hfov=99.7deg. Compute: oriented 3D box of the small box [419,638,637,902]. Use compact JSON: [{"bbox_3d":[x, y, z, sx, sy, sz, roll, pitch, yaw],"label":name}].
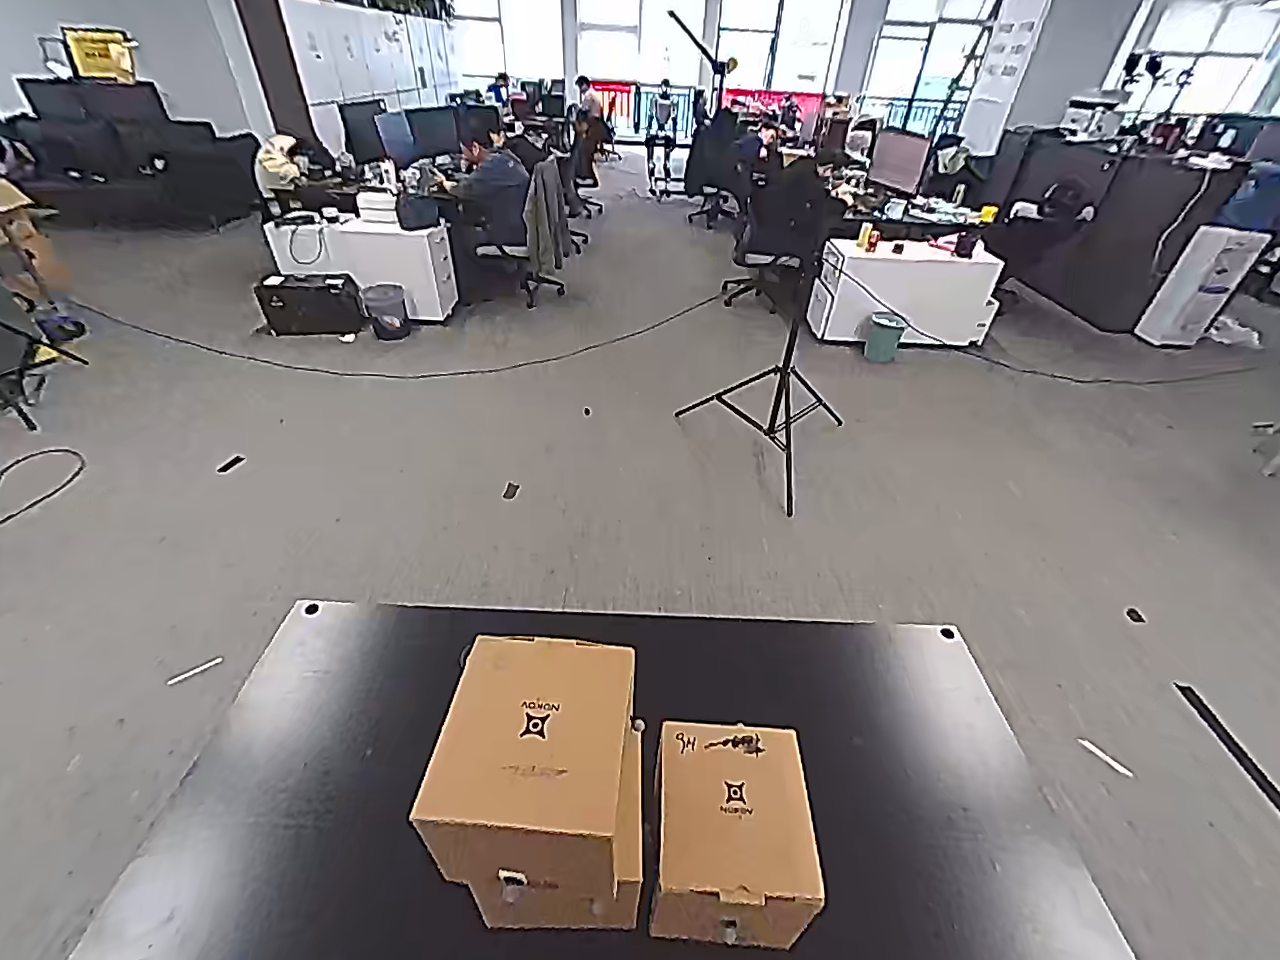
[{"bbox_3d":[-0.093,0.285,0.541,0.168,0.176,0.179,3,39,3],"label":"small box"}]
